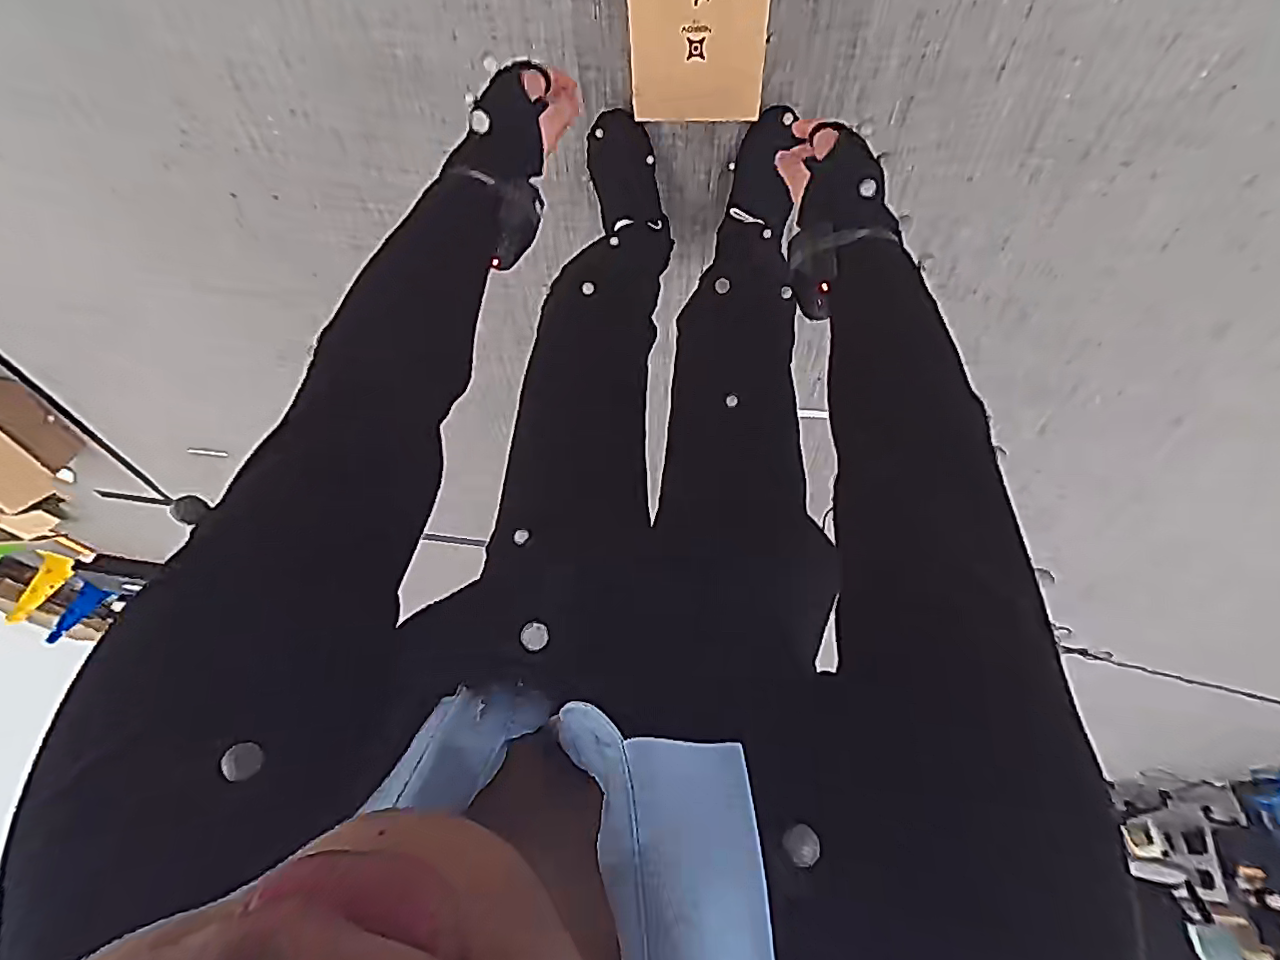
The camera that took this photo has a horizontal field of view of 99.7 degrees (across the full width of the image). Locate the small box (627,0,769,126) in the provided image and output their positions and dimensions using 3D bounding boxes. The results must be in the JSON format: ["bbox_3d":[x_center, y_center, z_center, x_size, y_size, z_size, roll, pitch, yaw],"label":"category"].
[{"bbox_3d":[0.078,-0.586,0.694,0.168,0.176,0.179,5,142,7],"label":"small box"}]
